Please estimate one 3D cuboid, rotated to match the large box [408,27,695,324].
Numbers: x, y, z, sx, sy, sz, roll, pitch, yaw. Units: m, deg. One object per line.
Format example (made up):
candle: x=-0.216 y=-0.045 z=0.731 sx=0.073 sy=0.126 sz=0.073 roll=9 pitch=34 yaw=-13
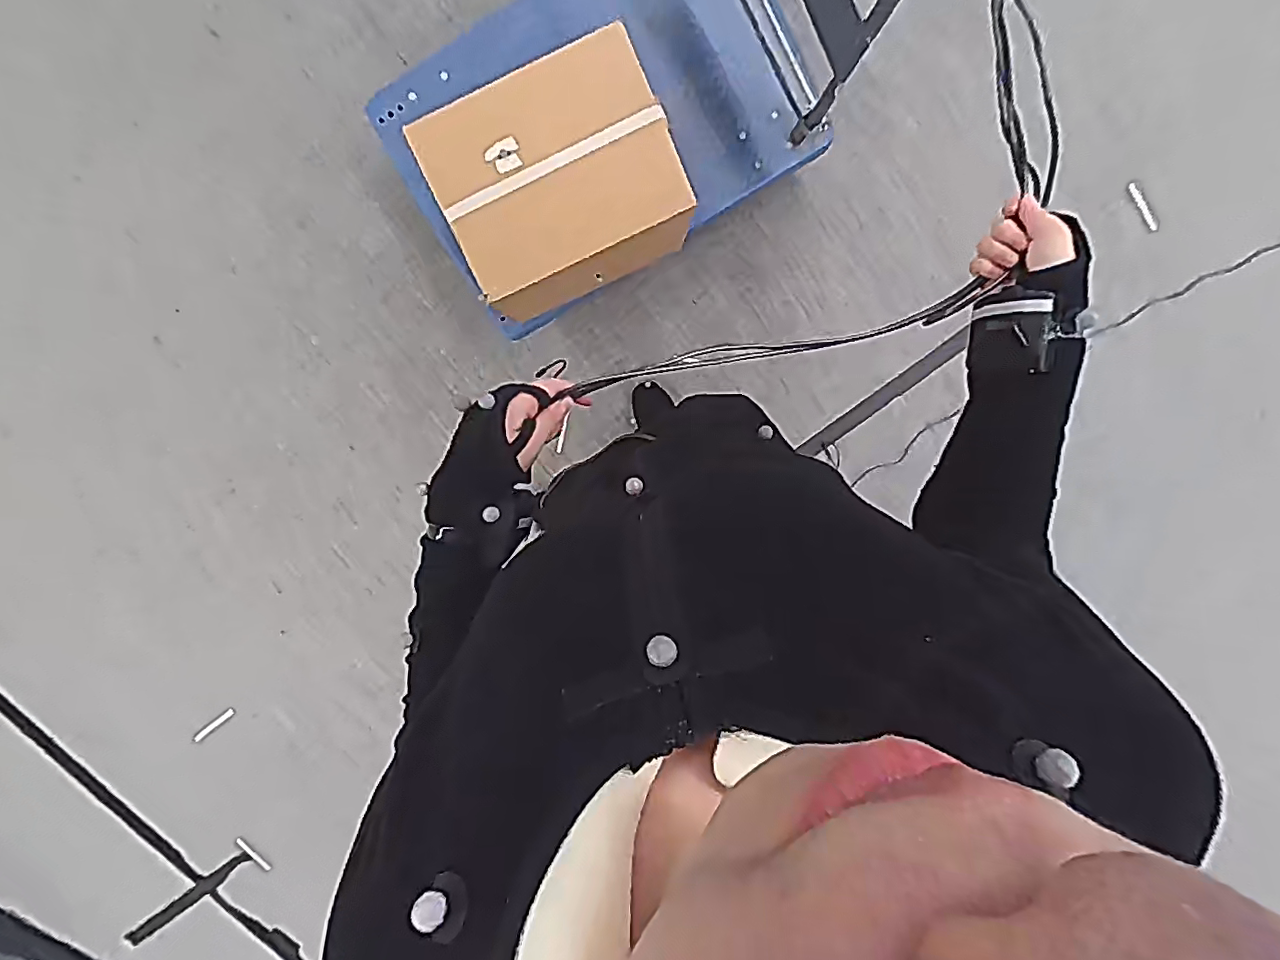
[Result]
large box: x=-0.148 y=-0.544 z=1.056 sx=0.408 sy=0.320 sz=0.320 roll=-25 pitch=99 yaw=4
